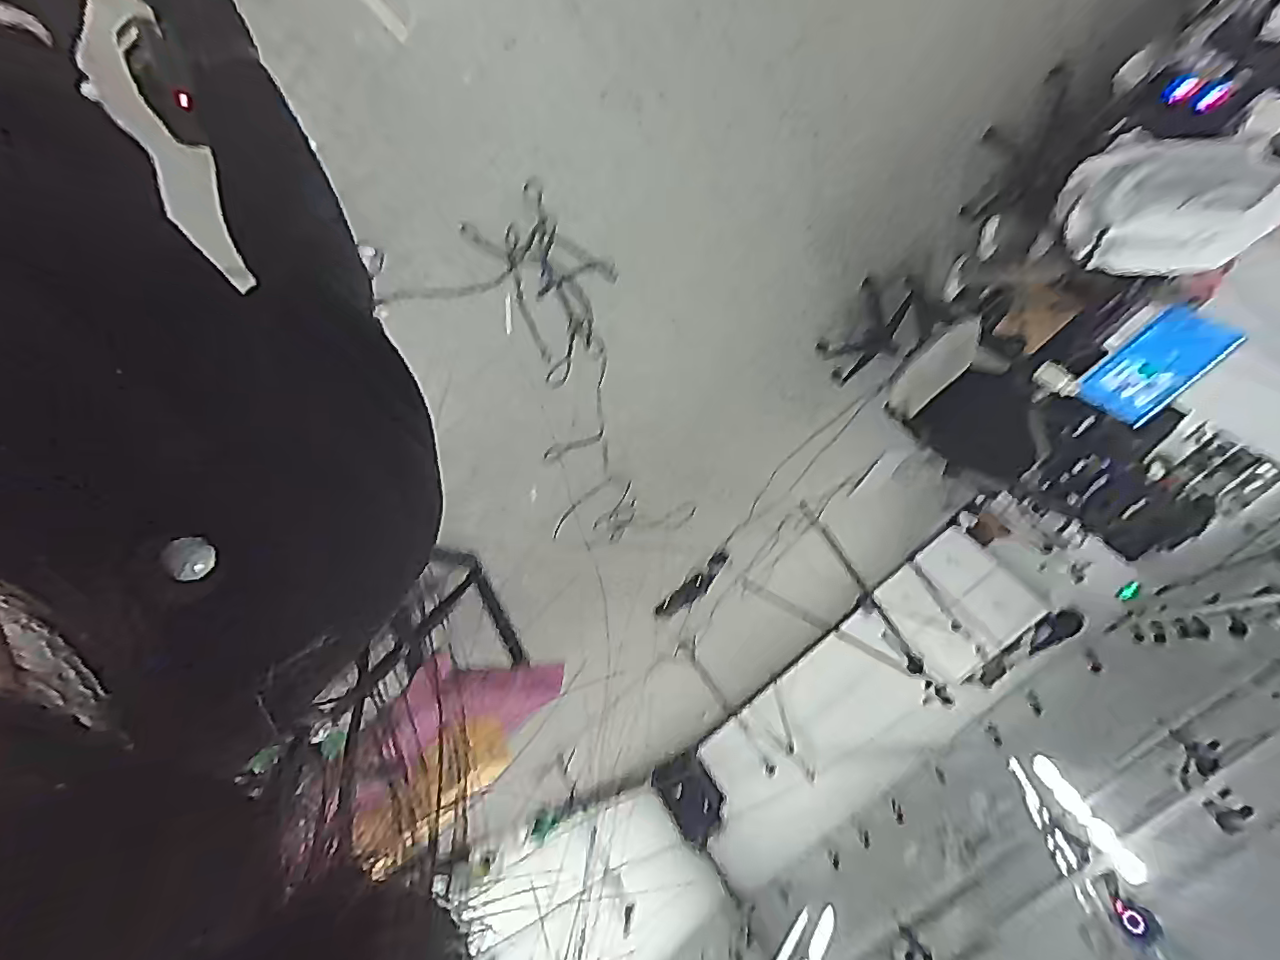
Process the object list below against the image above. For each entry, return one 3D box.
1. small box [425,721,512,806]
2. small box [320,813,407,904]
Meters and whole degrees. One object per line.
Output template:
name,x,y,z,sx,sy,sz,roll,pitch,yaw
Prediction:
small box,-0.555,0.901,1.735,0.168,0.176,0.179,-45,149,9
small box,-0.917,1.243,1.789,0.168,0.176,0.179,-41,149,4
